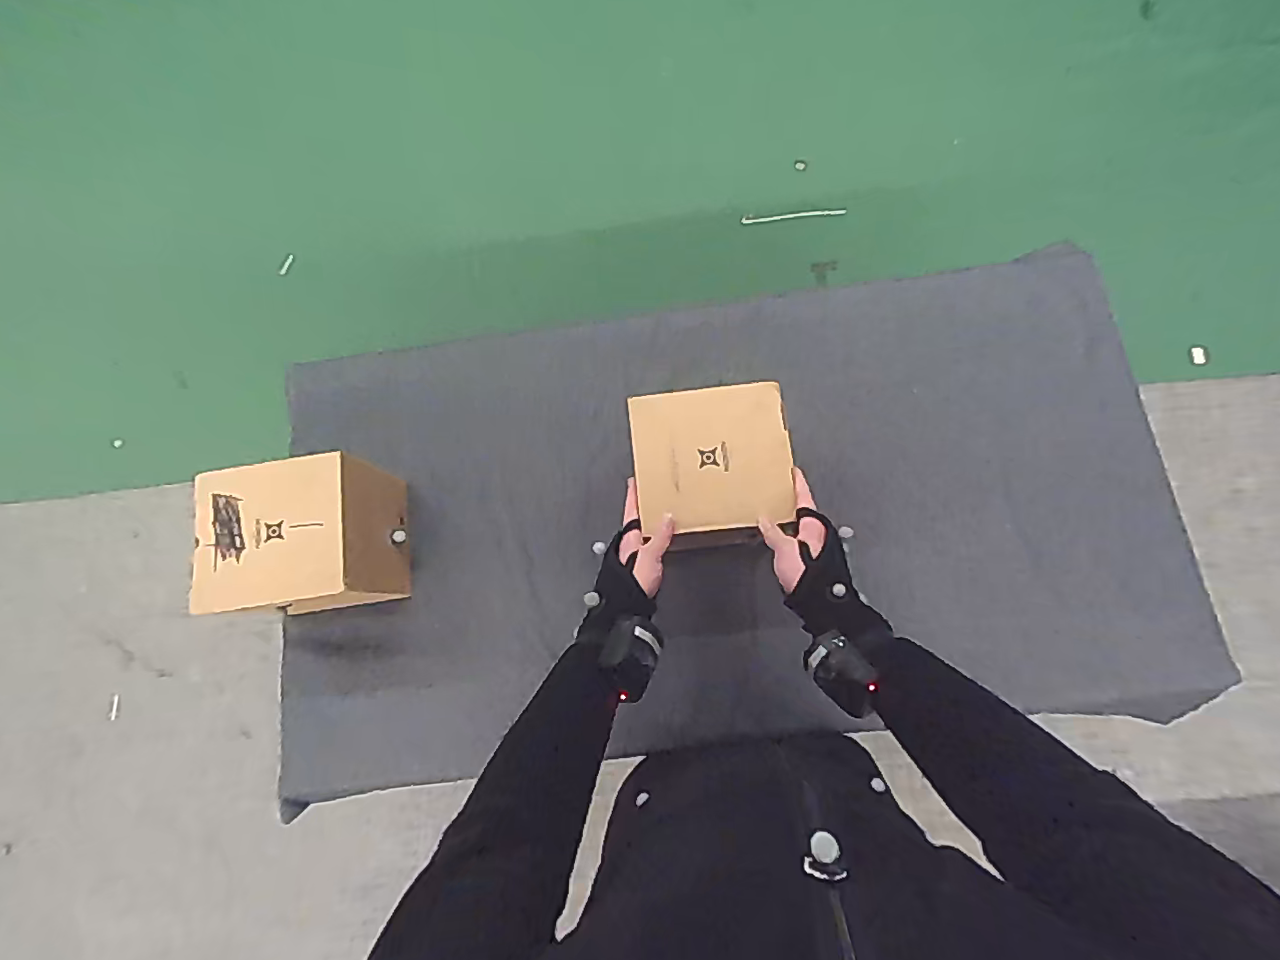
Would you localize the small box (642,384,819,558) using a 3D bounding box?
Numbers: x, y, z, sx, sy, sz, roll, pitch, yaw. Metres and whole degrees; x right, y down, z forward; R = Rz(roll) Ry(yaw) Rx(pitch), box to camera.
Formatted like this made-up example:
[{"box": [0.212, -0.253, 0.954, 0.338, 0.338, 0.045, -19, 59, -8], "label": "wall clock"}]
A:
[{"box": [0.098, -0.001, 0.664, 0.179, 0.176, 0.168, -7, 74, 1], "label": "small box"}]

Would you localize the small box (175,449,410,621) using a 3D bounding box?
[{"box": [-0.400, 0.075, 0.652, 0.179, 0.176, 0.168, -8, 75, -2], "label": "small box"}]
